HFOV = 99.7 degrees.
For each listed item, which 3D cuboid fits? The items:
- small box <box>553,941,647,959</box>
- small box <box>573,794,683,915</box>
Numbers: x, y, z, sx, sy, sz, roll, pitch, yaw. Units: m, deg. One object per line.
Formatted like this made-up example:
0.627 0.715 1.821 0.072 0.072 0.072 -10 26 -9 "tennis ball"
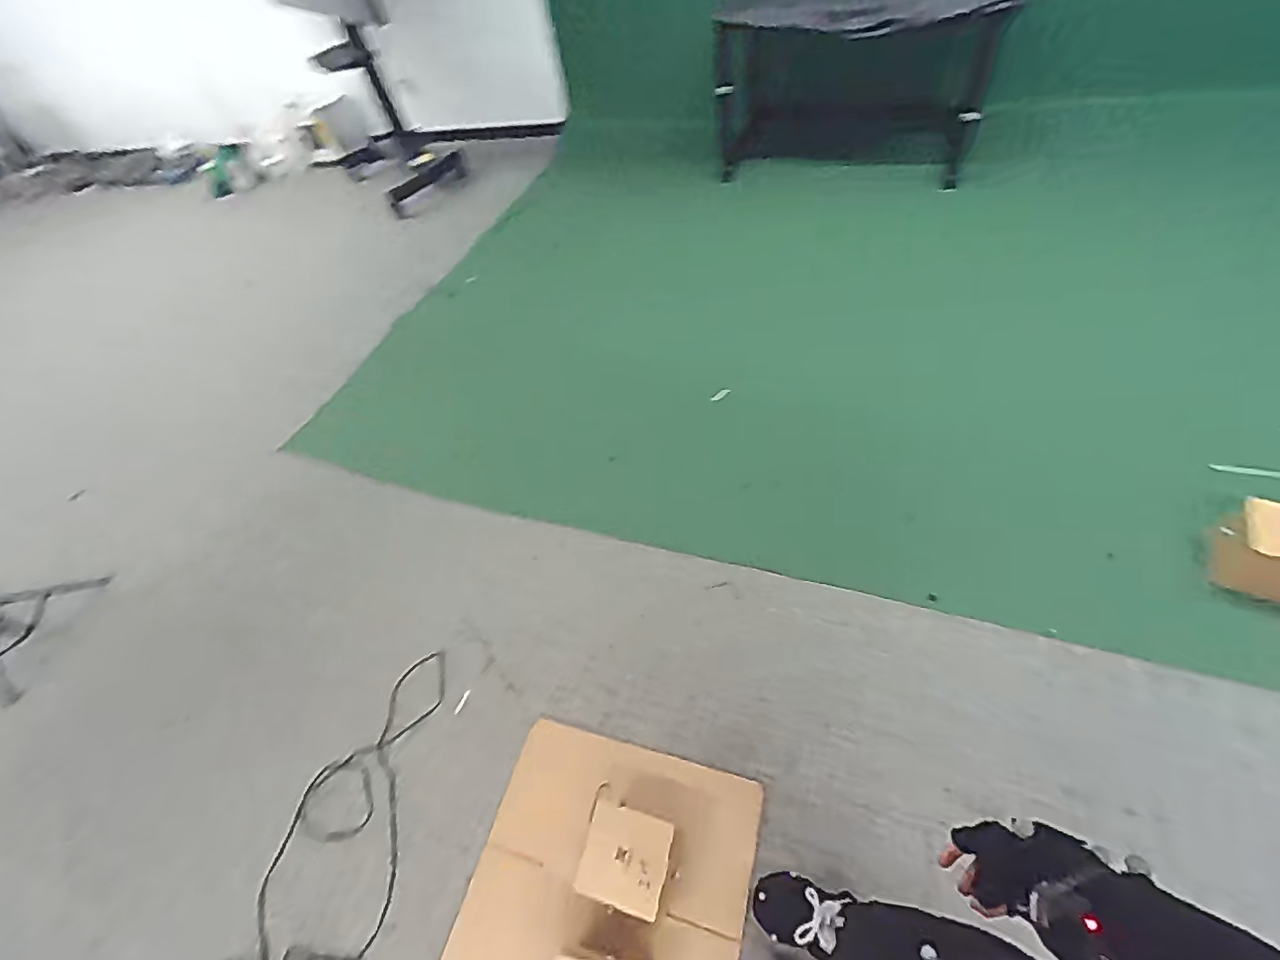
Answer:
-0.078 0.996 1.014 0.179 0.176 0.168 3 55 15 "small box"
-0.016 0.796 1.154 0.179 0.176 0.168 8 57 18 "small box"
